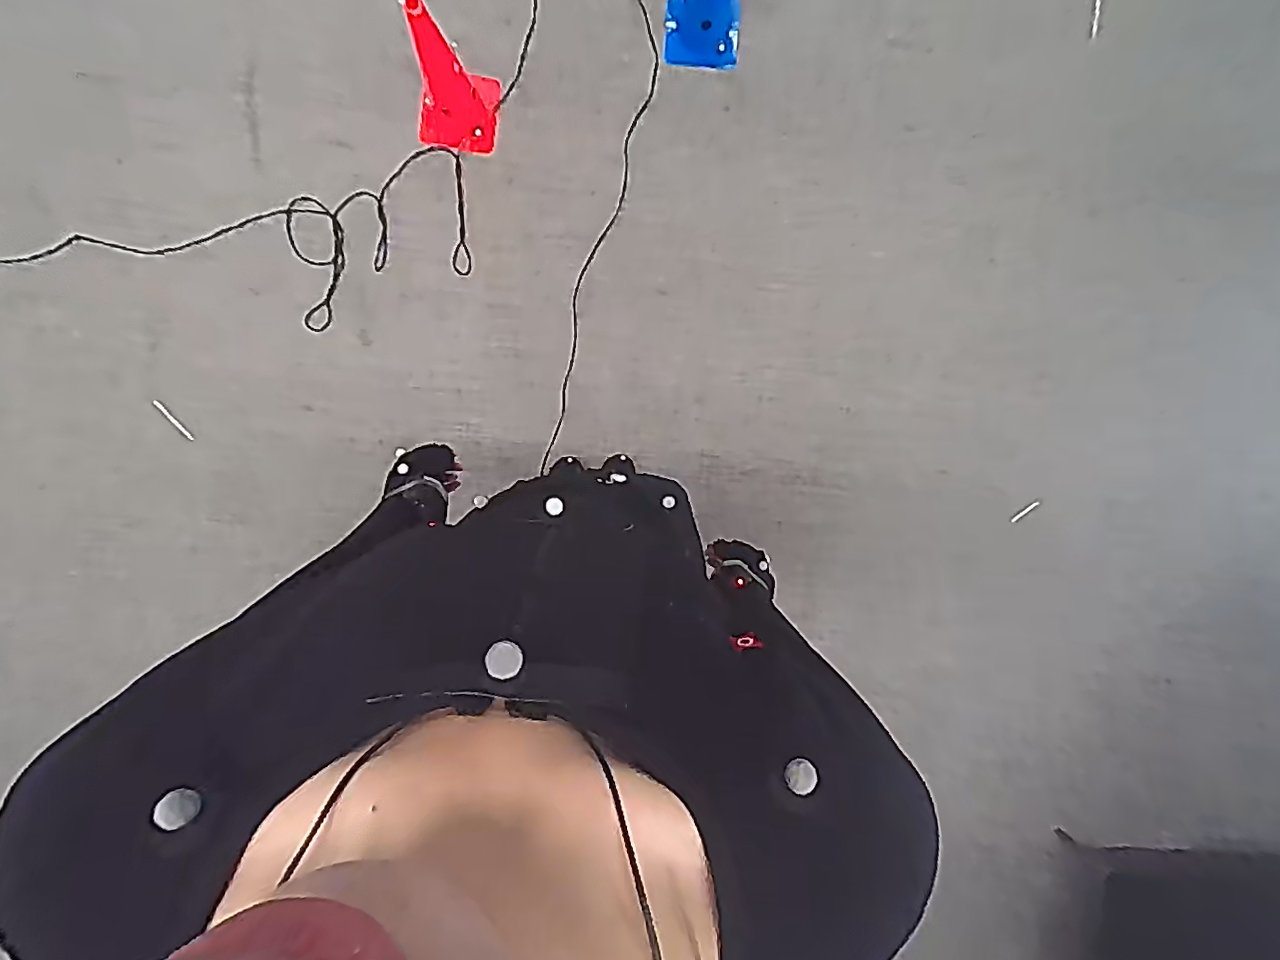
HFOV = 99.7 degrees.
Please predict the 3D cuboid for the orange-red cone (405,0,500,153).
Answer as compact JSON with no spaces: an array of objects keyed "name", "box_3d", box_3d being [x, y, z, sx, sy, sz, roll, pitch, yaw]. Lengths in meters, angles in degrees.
[{"name":"orange-red cone","box_3d":[-0.468,-0.975,1.262,0.198,0.360,0.199,9,91,-4]}]
